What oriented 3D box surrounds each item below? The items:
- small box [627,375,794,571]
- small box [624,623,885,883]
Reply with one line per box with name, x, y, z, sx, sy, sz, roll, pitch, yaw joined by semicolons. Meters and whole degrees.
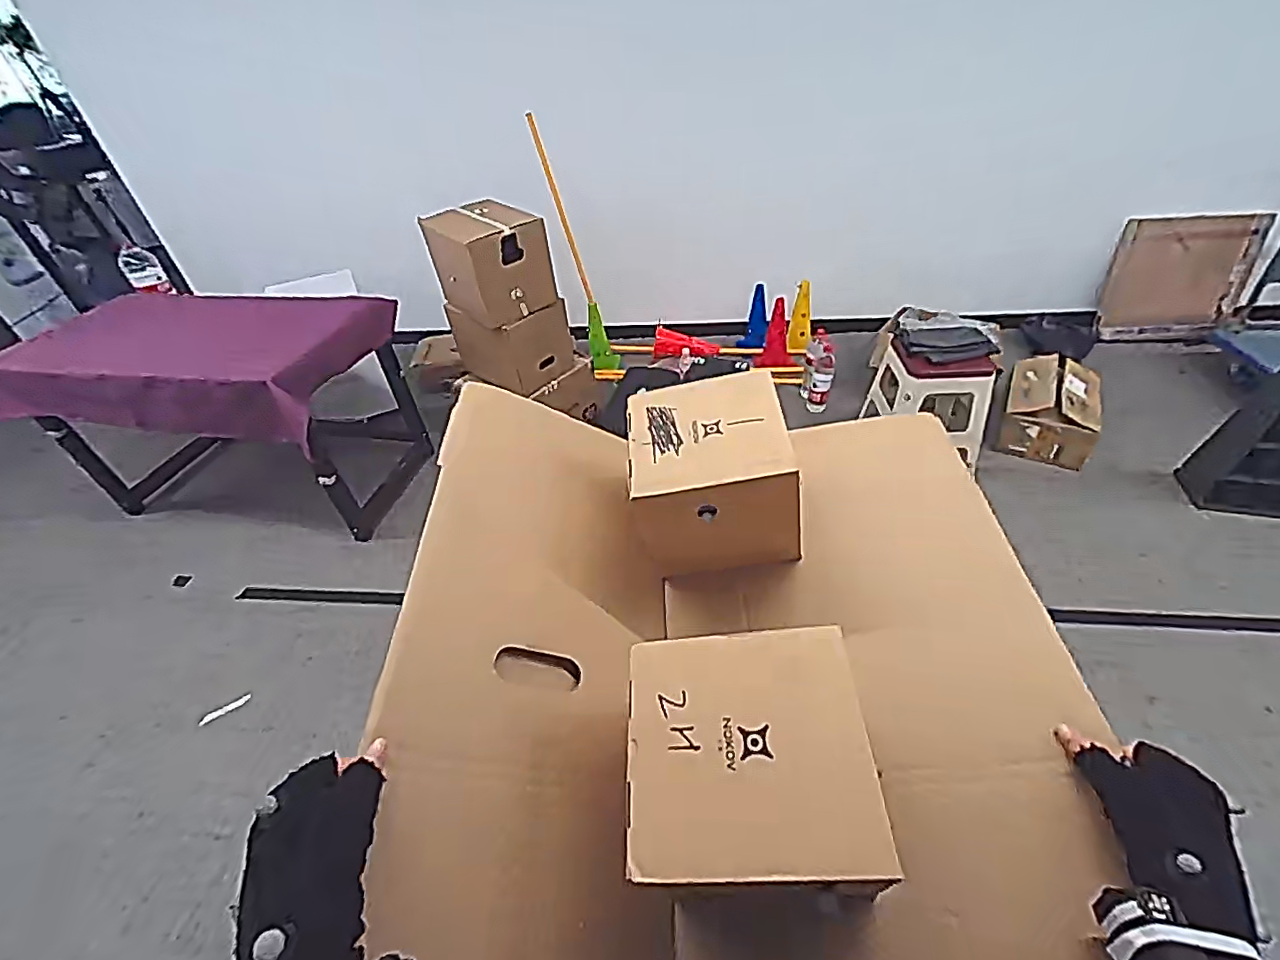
small box;0.089;-0.001;0.679;0.179;0.176;0.168;-10;49;9
small box;0.093;0.241;0.471;0.179;0.176;0.168;-9;49;11
